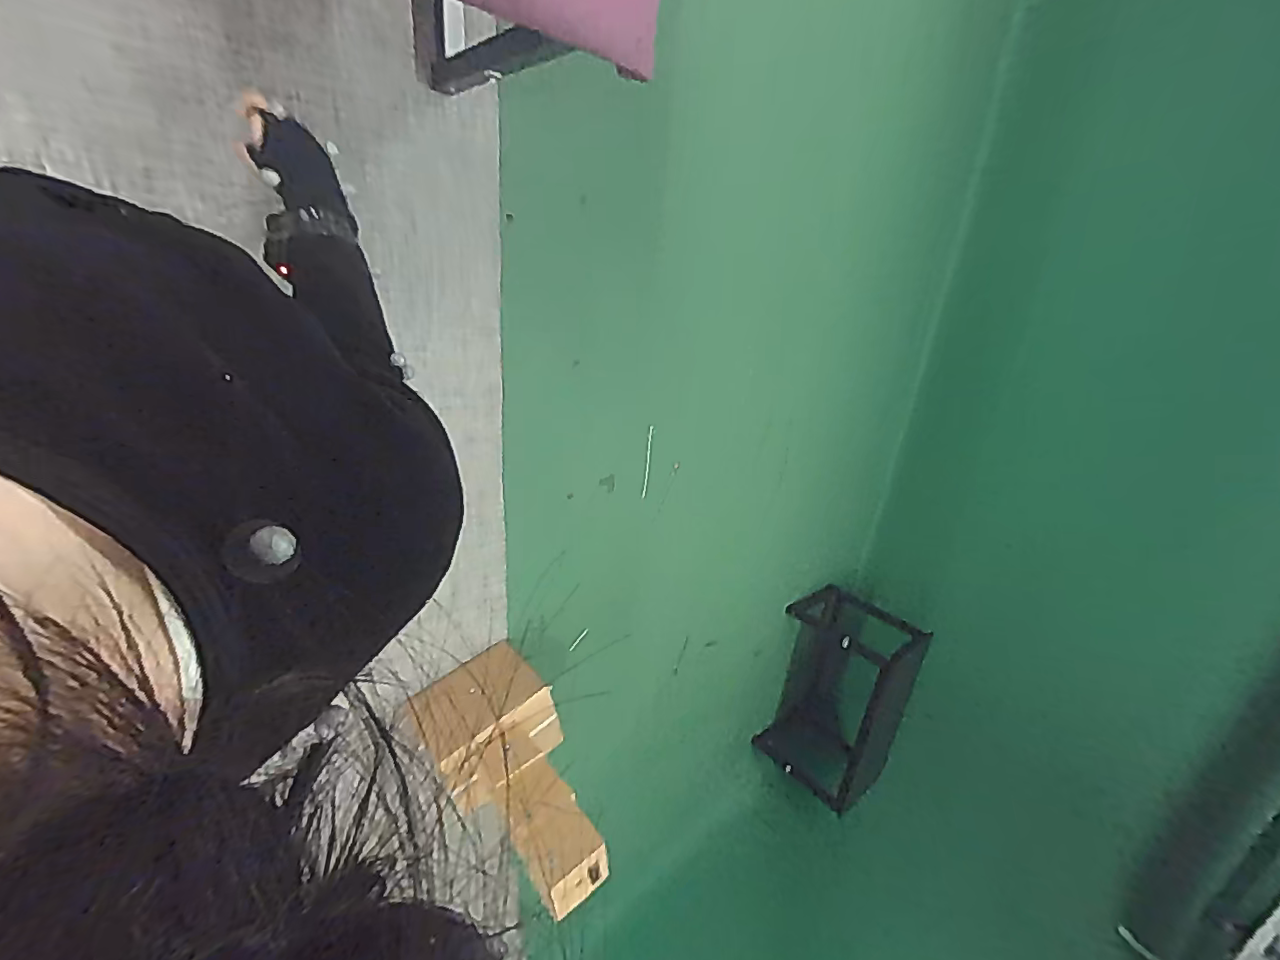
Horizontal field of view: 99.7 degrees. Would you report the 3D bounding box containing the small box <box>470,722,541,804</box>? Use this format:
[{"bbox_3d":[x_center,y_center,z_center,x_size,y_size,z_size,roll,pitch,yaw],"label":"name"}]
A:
[{"bbox_3d":[-0.421,0.906,1.717,0.168,0.176,0.179,-24,124,-35],"label":"small box"}]

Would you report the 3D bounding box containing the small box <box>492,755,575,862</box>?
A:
[{"bbox_3d":[-0.316,0.967,1.610,0.179,0.176,0.168,-22,124,-35],"label":"small box"}]

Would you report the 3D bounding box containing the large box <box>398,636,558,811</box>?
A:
[{"bbox_3d":[-0.562,0.841,1.911,0.408,0.320,0.320,-30,129,-33],"label":"large box"}]
